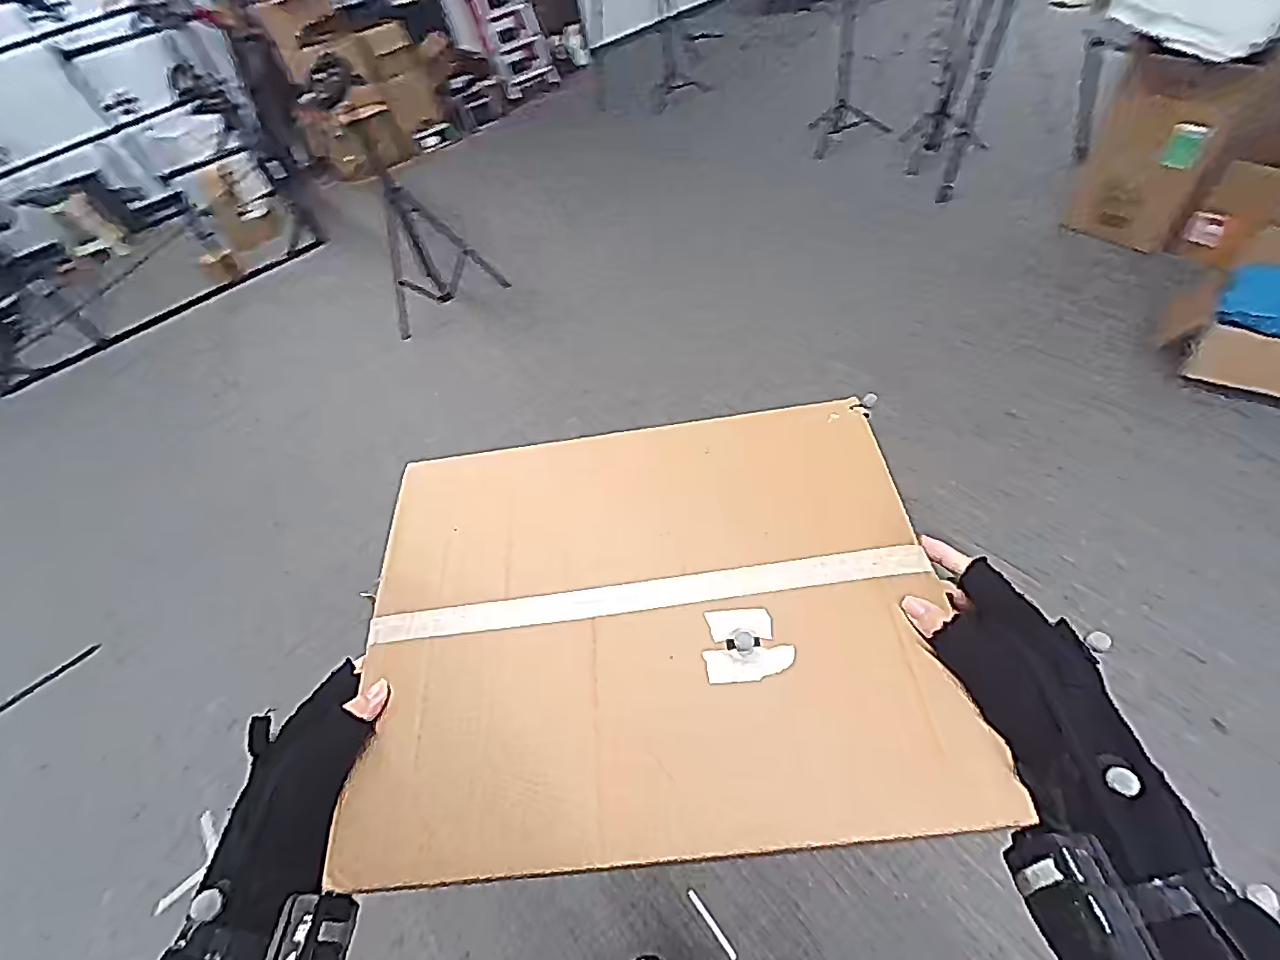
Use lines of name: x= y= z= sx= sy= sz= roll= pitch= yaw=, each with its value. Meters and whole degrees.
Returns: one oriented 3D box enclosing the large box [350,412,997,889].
large box: x=0.017 y=0.177 z=0.529 sx=0.408 sy=0.320 sz=0.320 roll=-9 pitch=55 yaw=2
